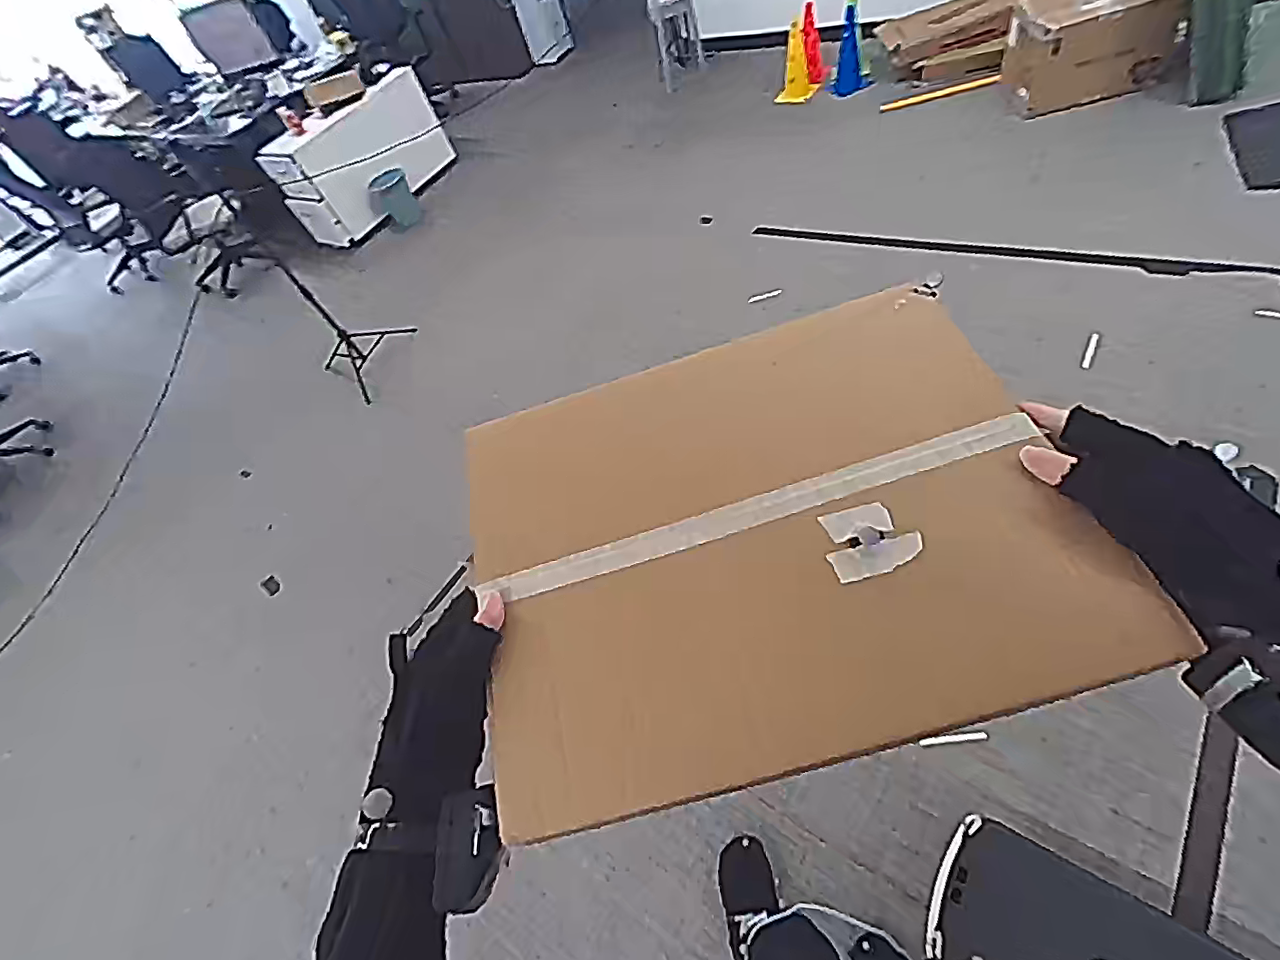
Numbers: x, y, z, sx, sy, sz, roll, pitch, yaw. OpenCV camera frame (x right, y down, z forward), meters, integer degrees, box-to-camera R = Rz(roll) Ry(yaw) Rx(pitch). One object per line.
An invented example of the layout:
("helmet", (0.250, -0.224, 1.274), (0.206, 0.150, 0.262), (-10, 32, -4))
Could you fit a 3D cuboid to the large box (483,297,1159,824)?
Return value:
("large box", (0.110, 0.098, 0.526), (0.408, 0.320, 0.320), (-18, 60, 3))
